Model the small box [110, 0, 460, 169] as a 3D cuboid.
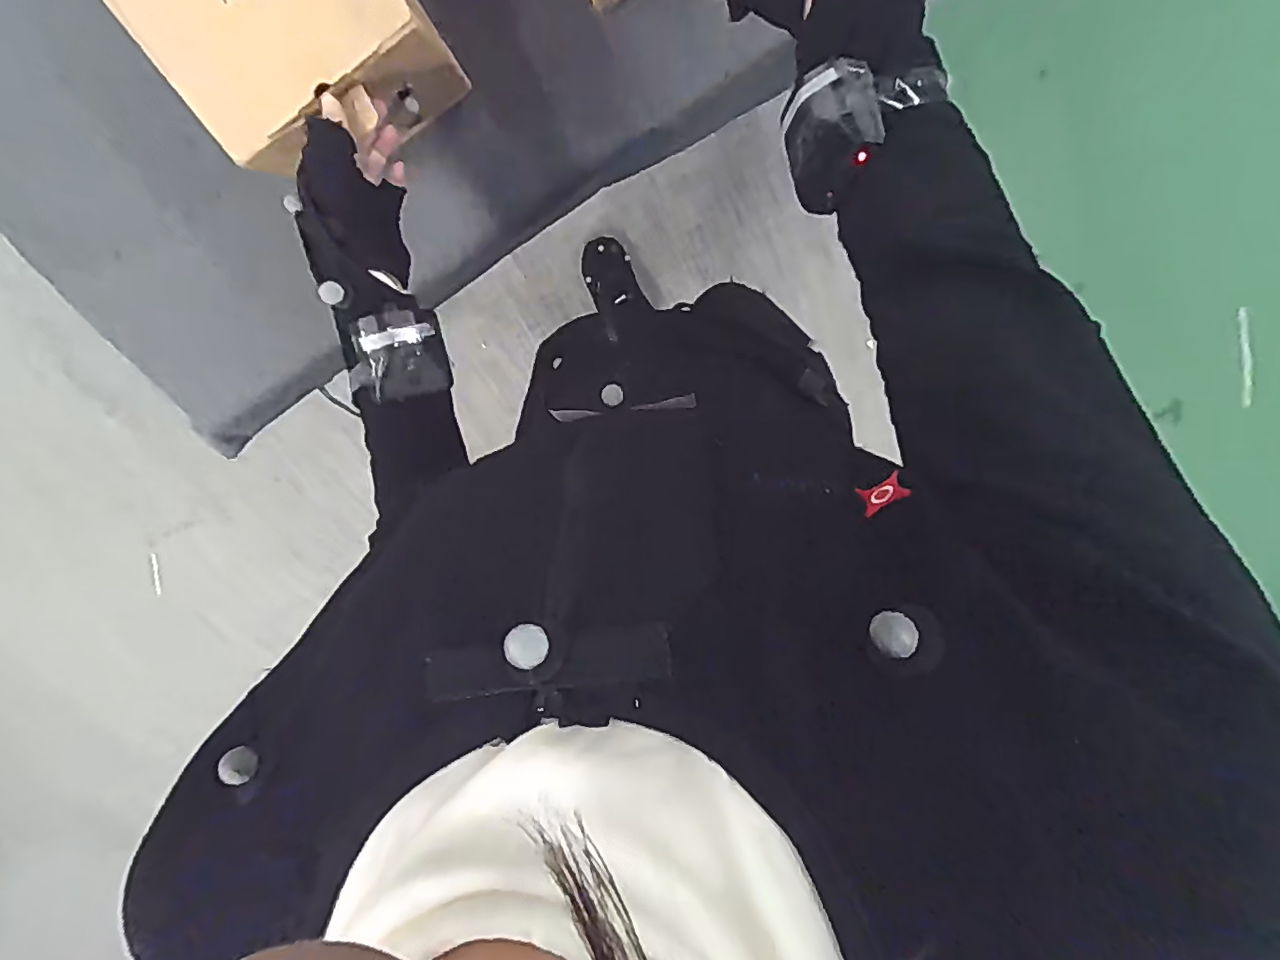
[{"bbox_3d":[-0.270,-0.371,0.420,0.168,0.176,0.179,-32,110,10],"label":"small box"}]
